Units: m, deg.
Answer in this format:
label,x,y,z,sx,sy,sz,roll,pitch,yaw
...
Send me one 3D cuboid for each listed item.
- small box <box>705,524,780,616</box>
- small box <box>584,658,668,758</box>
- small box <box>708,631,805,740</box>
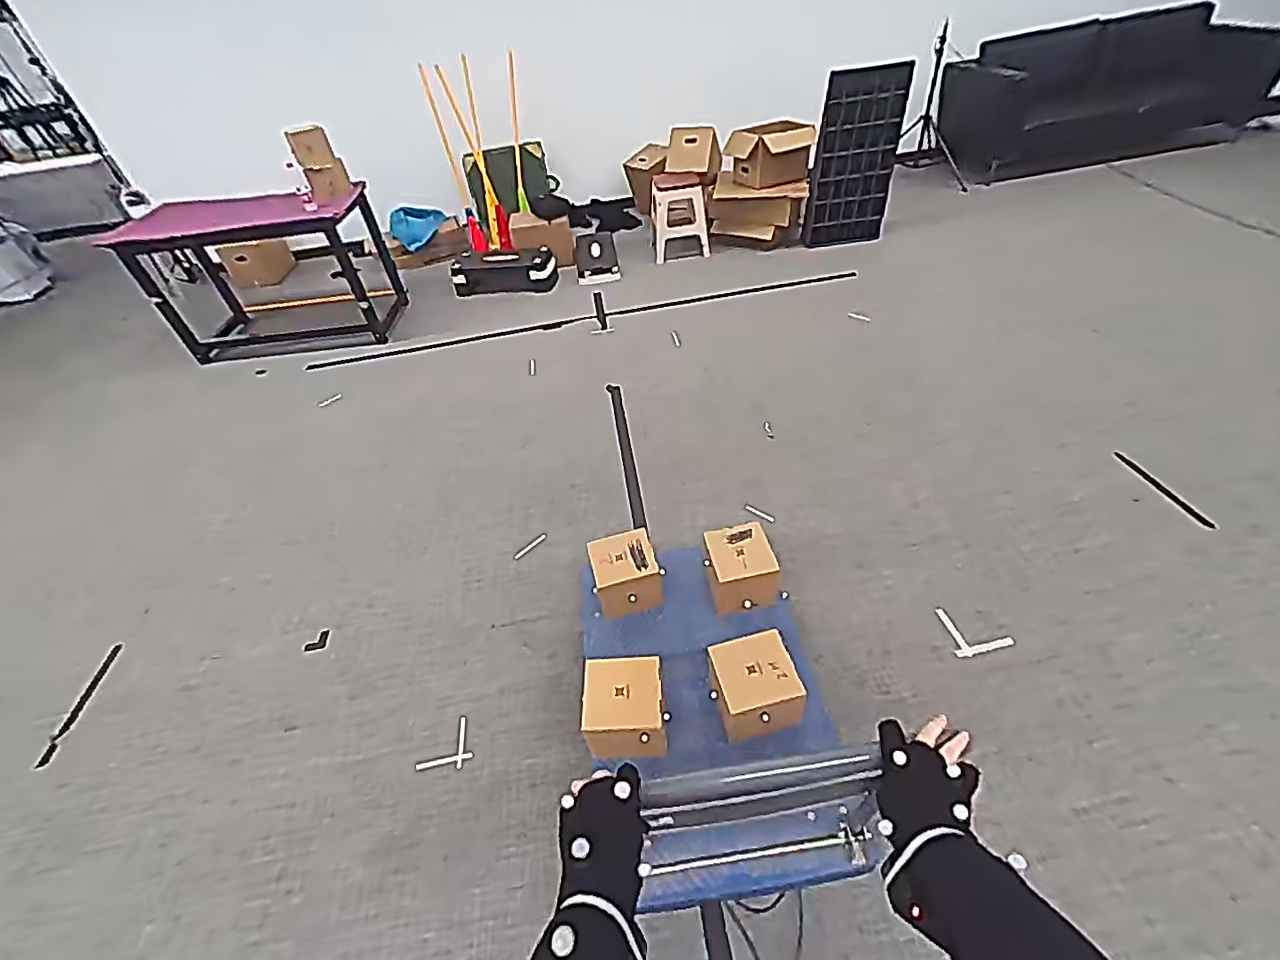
label,x,y,z,sx,sy,sz,roll,pitch,yaw
small box,0.281,0.254,1.525,0.168,0.176,0.179,-12,44,-3
small box,-0.029,0.540,1.274,0.179,0.176,0.168,-4,43,2
small box,0.271,0.490,1.280,0.179,0.176,0.168,-13,44,-5
